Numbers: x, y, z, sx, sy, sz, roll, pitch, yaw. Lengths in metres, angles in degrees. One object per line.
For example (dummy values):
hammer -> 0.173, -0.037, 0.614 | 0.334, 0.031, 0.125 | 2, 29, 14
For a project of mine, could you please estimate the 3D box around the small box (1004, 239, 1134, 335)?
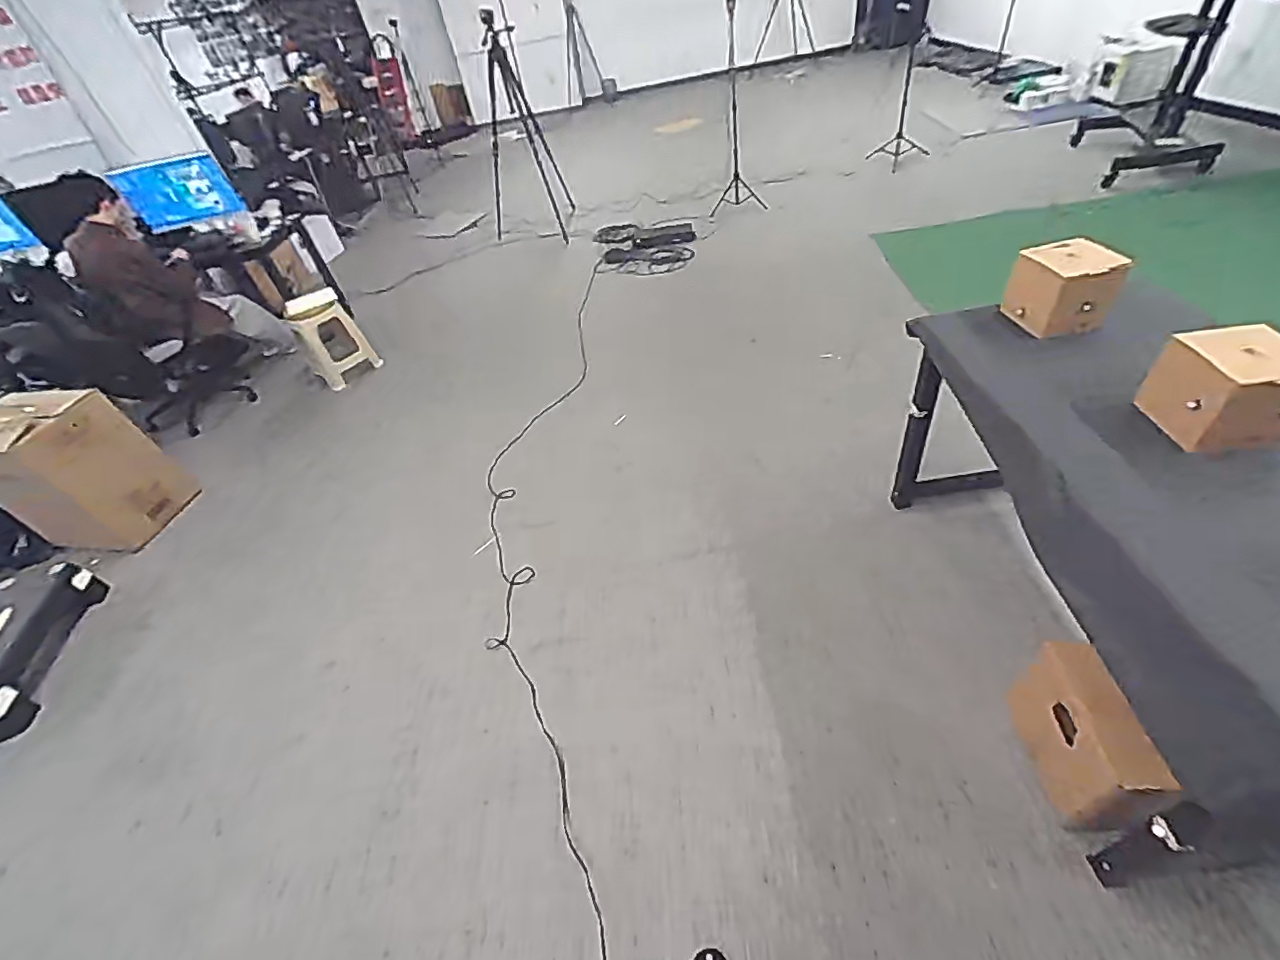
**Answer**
small box -> 1.077, -0.484, 1.377 | 0.168, 0.176, 0.179 | -11, 44, 1

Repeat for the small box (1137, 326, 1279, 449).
small box -> 1.130, -0.172, 1.040 | 0.168, 0.176, 0.179 | -5, 42, 6
